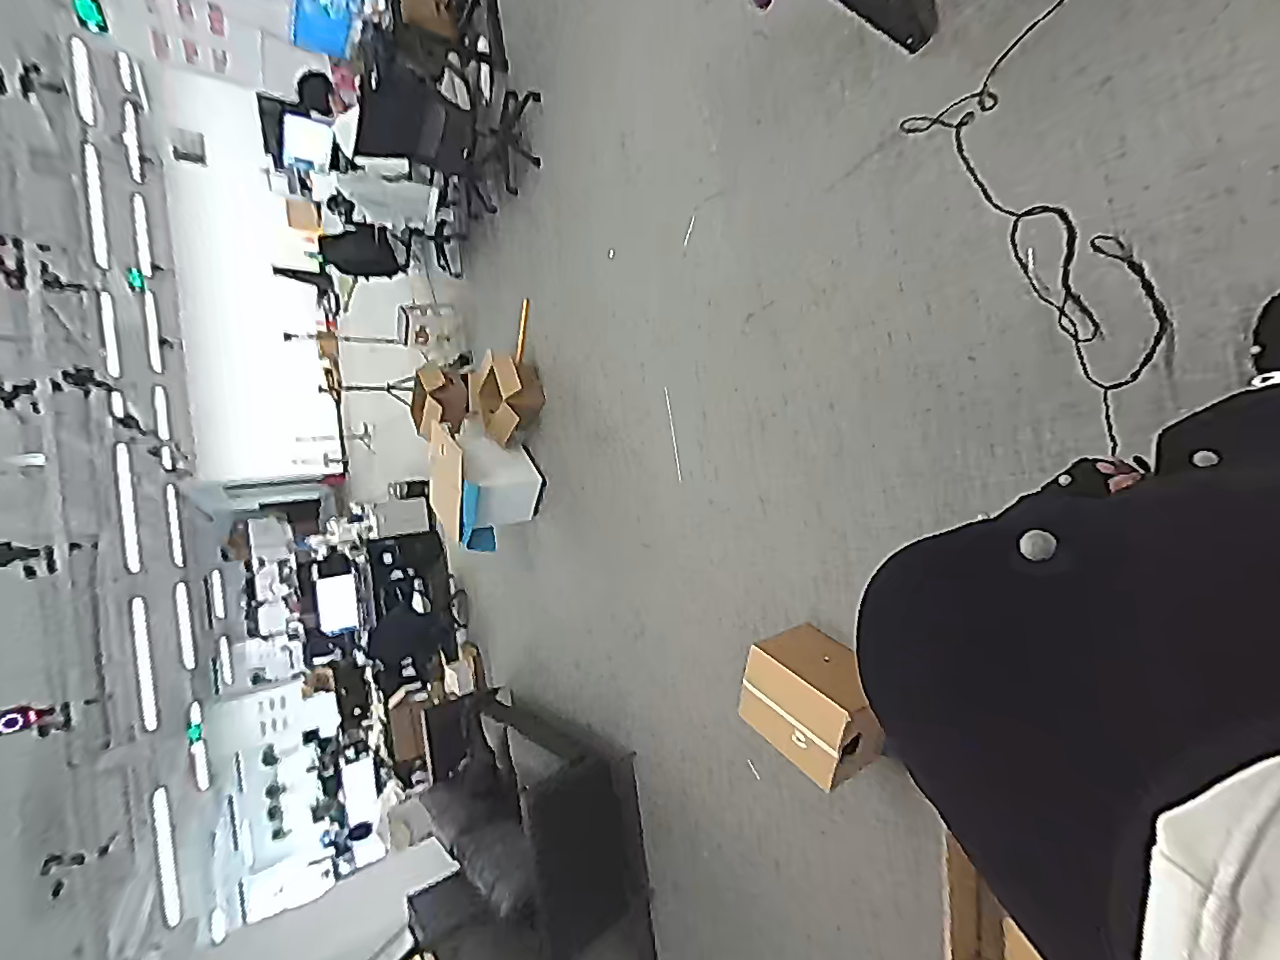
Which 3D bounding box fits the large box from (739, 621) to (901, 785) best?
[{"bbox_3d":[0.616,0.749,1.891,0.408,0.320,0.320,26,117,48],"label":"large box"}]
